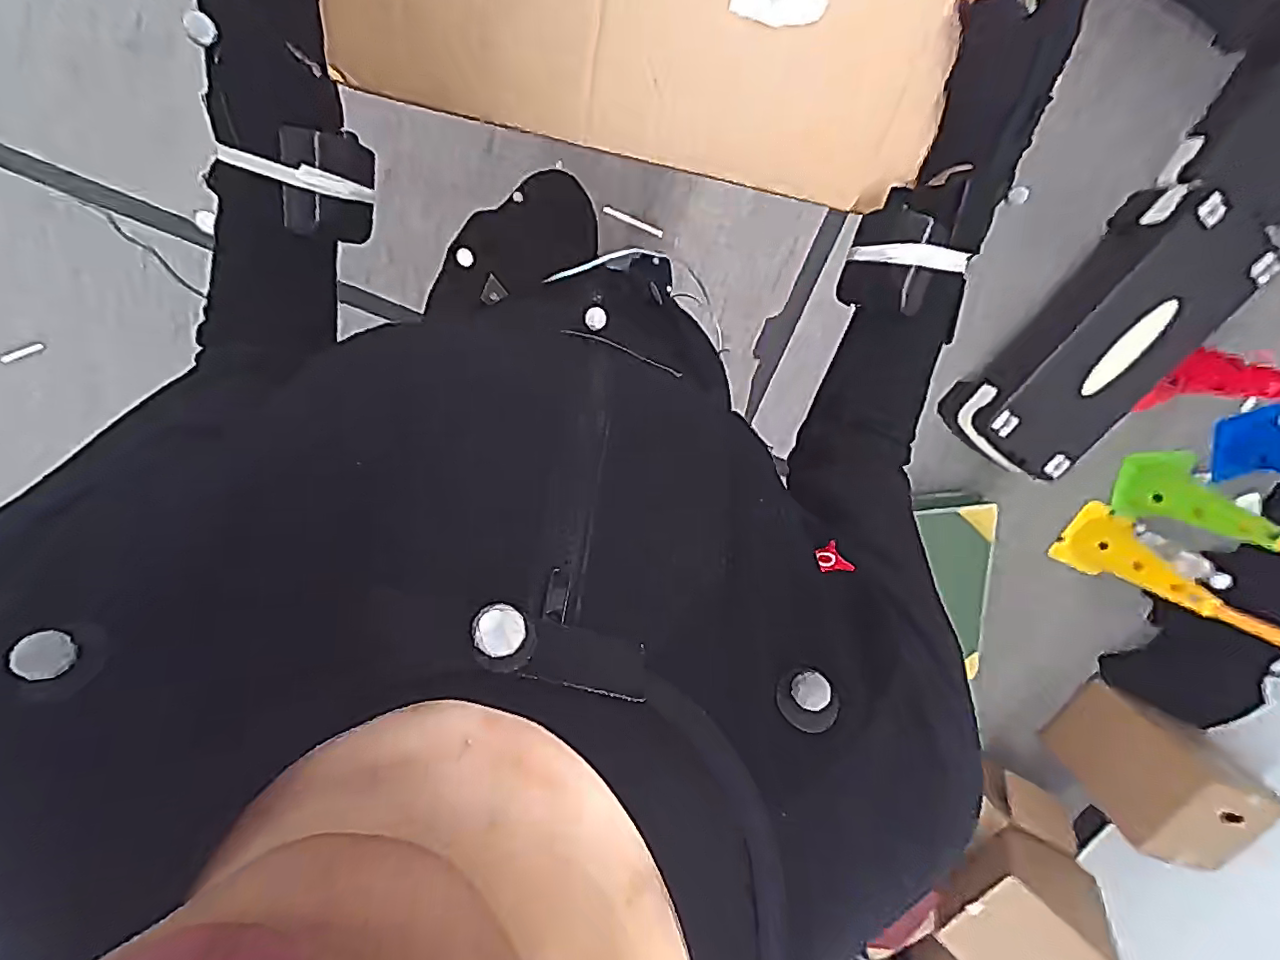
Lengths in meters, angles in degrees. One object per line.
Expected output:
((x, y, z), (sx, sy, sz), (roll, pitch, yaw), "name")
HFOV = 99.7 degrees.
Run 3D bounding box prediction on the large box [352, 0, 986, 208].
((0.029, -0.445, 0.424), (0.408, 0.320, 0.320), (9, 127, -8), "large box")
